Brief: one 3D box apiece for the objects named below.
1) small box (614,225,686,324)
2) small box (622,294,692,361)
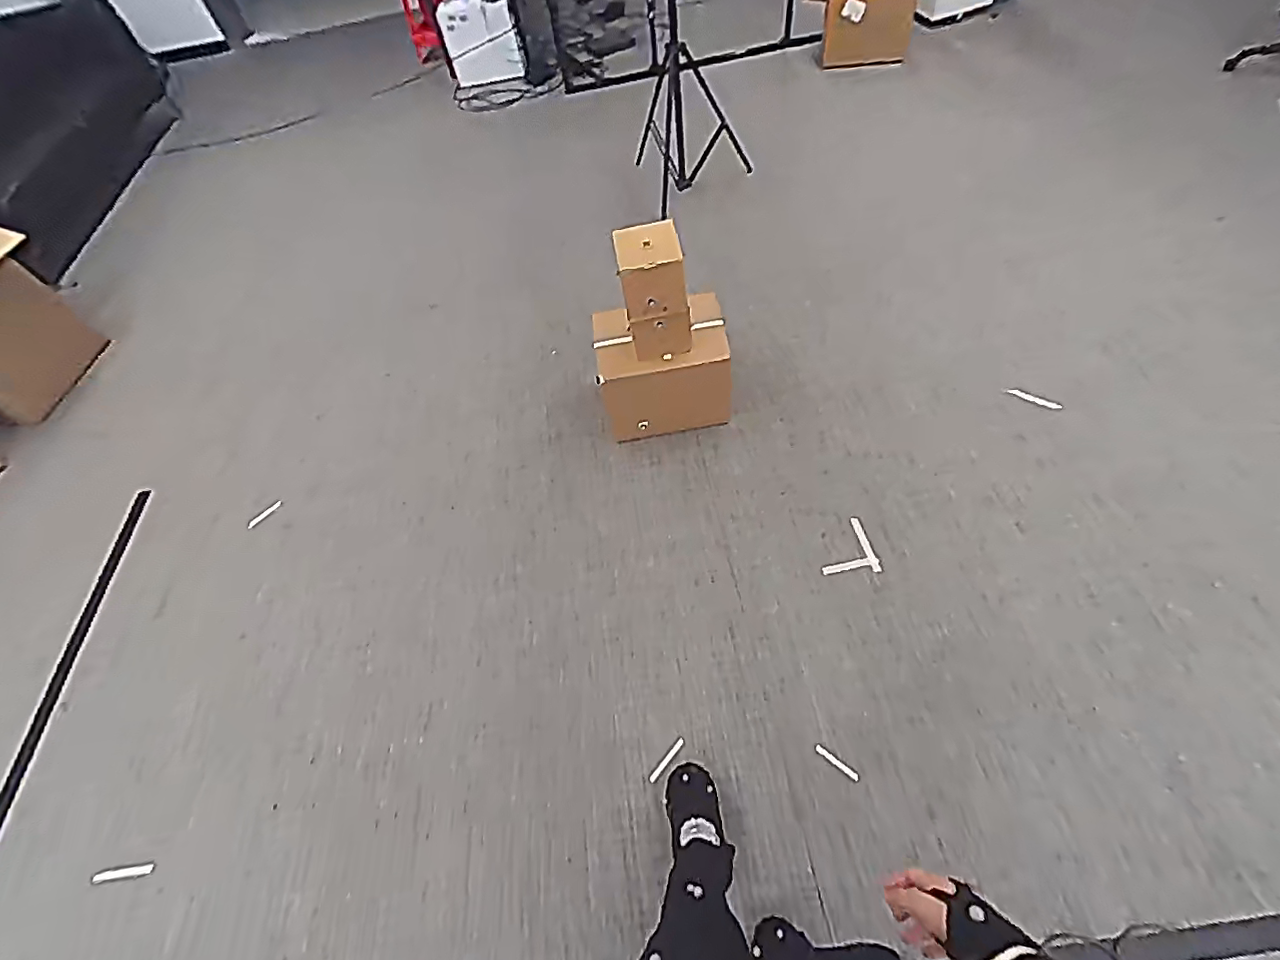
[{"bbox_3d":[0.028,-0.555,1.468,0.168,0.176,0.179,-11,58,2],"label":"small box"},{"bbox_3d":[0.052,-0.476,1.608,0.179,0.176,0.168,-11,58,0],"label":"small box"}]
